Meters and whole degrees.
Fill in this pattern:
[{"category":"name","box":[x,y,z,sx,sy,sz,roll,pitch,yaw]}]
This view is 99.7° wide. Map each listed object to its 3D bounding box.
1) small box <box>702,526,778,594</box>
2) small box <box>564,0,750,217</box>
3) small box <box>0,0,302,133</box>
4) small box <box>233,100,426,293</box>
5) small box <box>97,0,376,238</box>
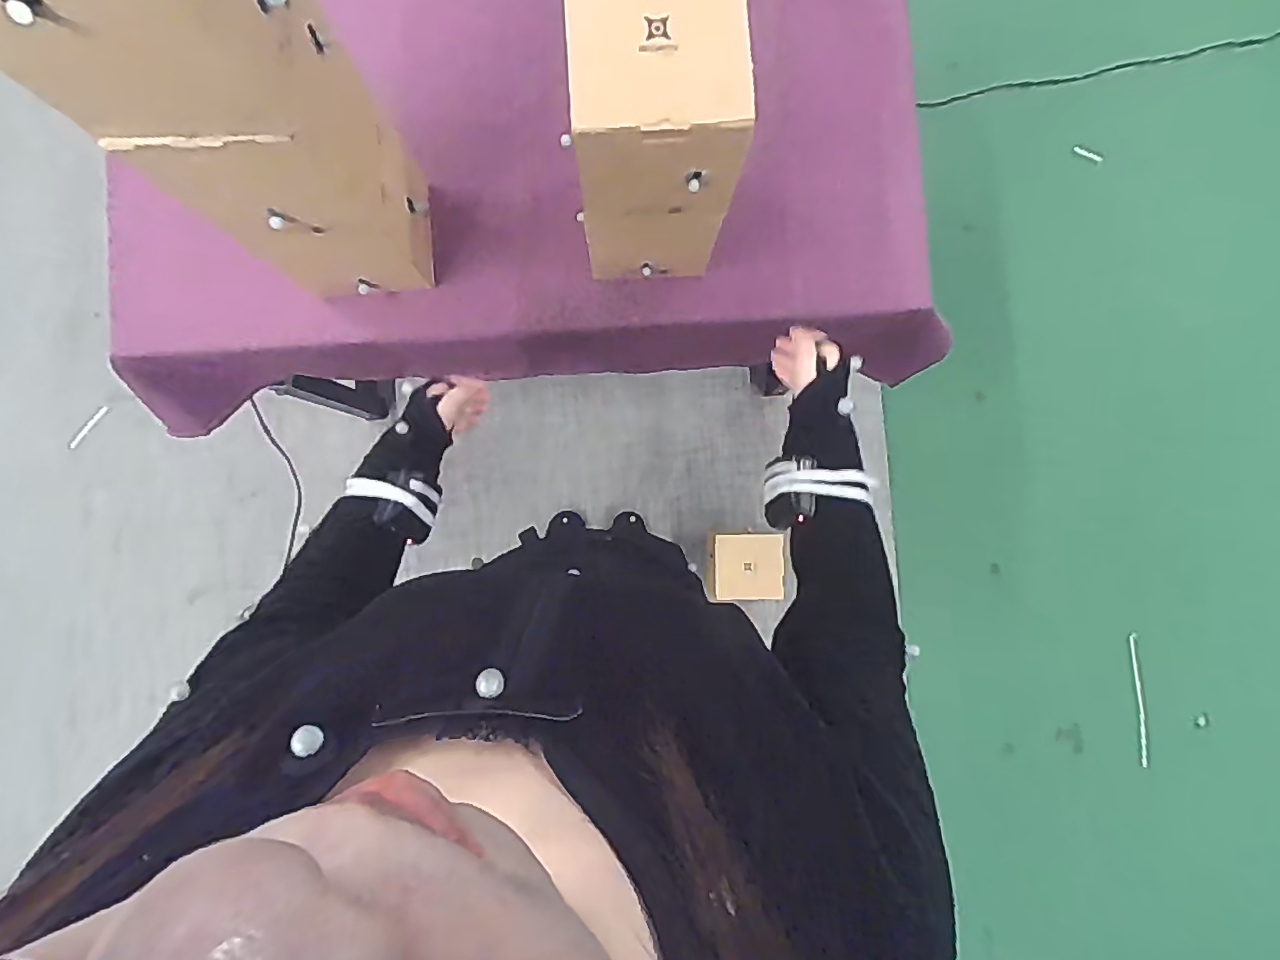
[{"category":"small box","box":[0.261,0.210,1.448,0.179,0.176,0.168,0,88,-3]},{"category":"small box","box":[0.013,-0.395,0.565,0.168,0.176,0.179,-3,88,-3]},{"category":"small box","box":[-0.377,-0.380,0.385,0.179,0.176,0.168,-2,88,-3]},{"category":"small box","box":[-0.395,-0.360,0.713,0.179,0.176,0.168,-5,87,-3]},{"category":"small box","box":[-0.388,-0.372,0.549,0.168,0.176,0.179,-3,88,-2]}]
